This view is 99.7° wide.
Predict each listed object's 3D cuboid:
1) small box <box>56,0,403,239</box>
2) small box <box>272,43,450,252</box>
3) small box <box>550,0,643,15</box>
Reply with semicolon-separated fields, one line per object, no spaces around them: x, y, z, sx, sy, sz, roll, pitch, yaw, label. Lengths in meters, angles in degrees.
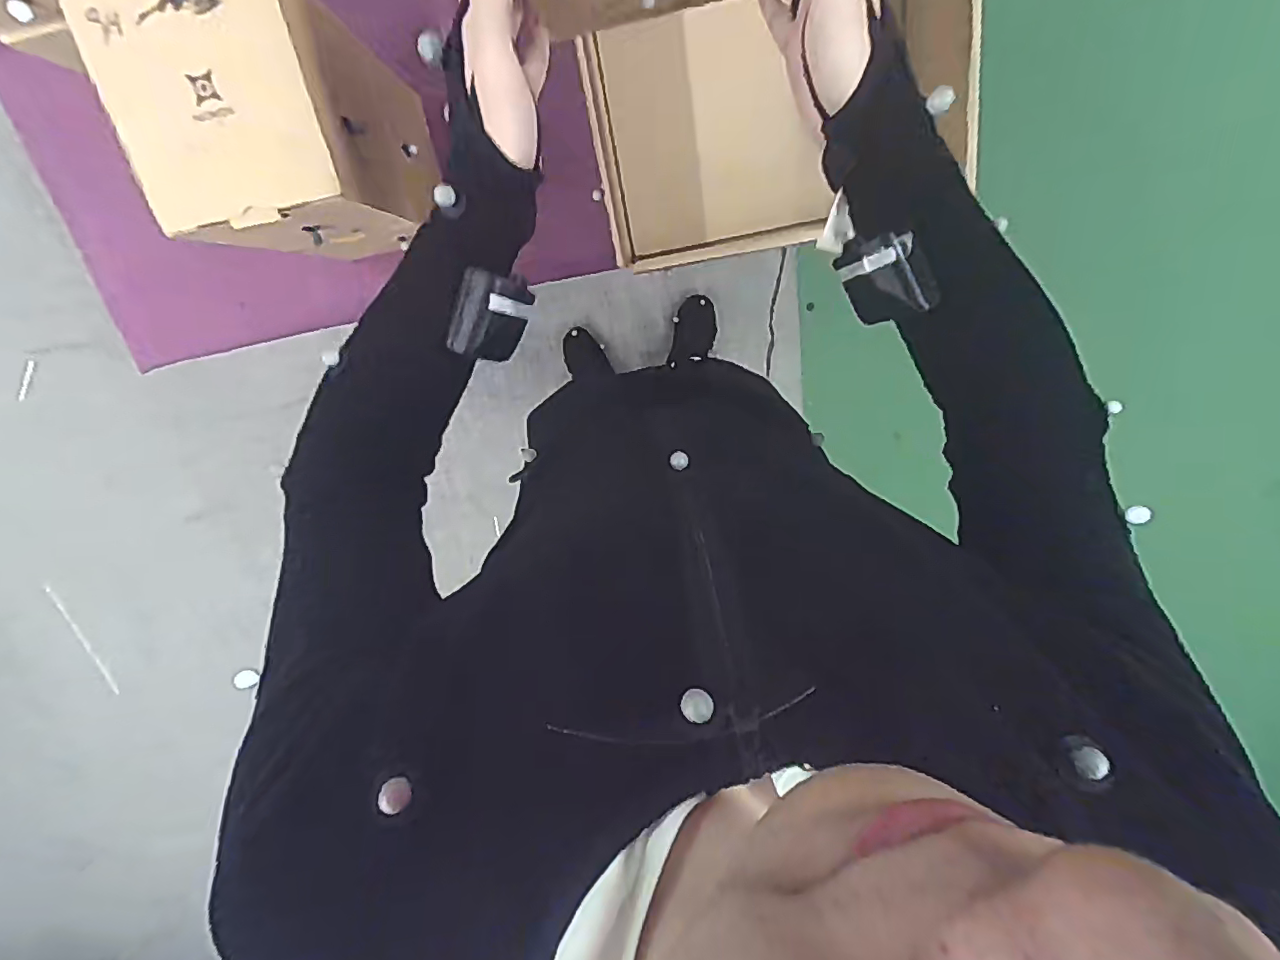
-0.352;-0.334;0.509;0.168;0.176;0.179;-10;110;2;small box
-0.354;-0.385;0.664;0.168;0.176;0.179;-10;108;2;small box
-0.002;-0.406;0.308;0.168;0.176;0.179;-9;114;4;small box
